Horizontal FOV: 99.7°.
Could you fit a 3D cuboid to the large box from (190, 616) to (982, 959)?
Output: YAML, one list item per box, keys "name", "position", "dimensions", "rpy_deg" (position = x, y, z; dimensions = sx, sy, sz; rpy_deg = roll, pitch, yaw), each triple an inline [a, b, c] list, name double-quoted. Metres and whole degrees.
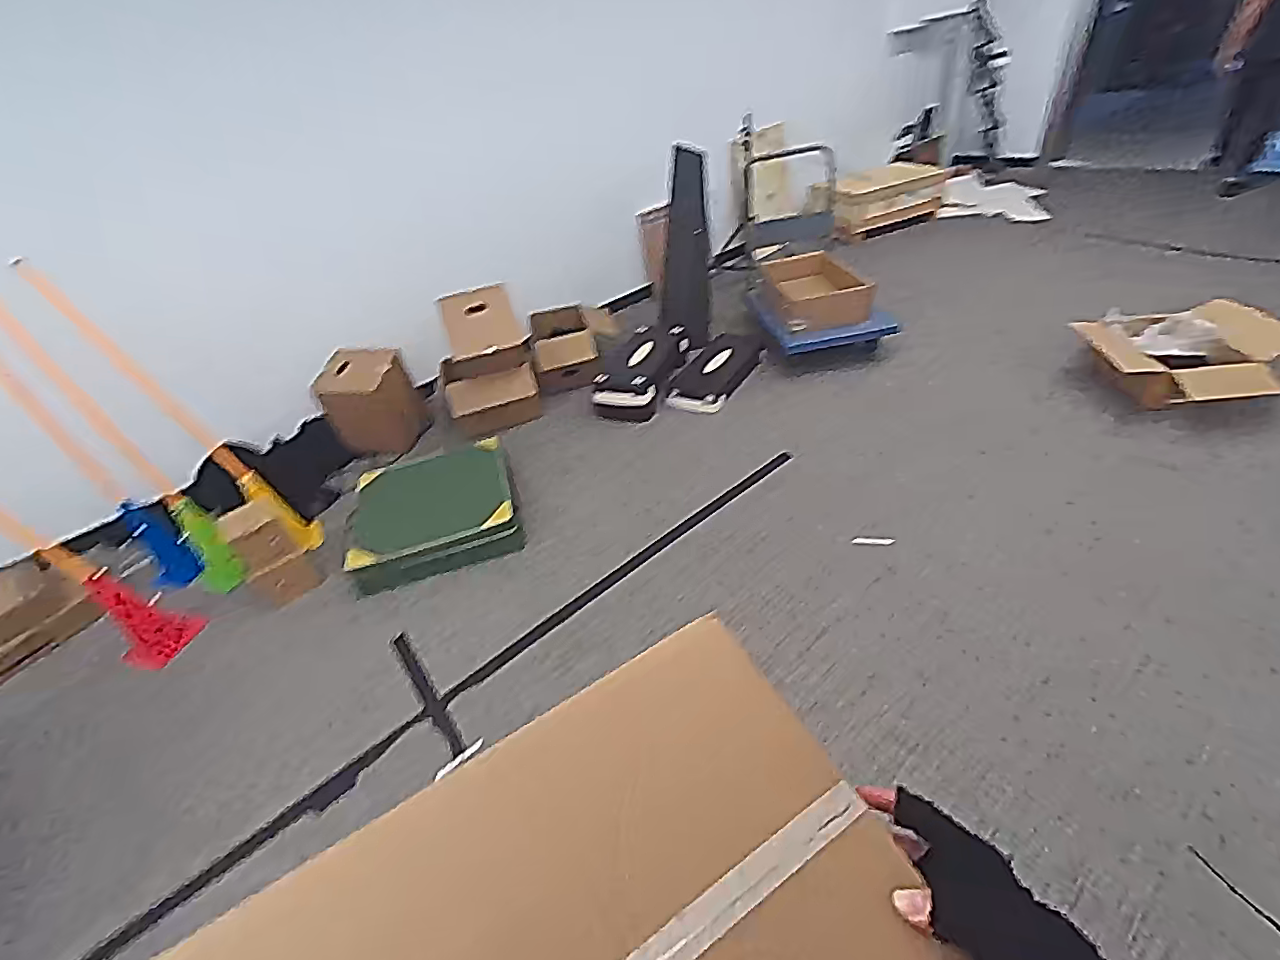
- name: "large box"
  position: [-0.023, 0.390, 0.418]
  dimensions: [0.408, 0.320, 0.320]
  rpy_deg: [-27, 56, -19]
